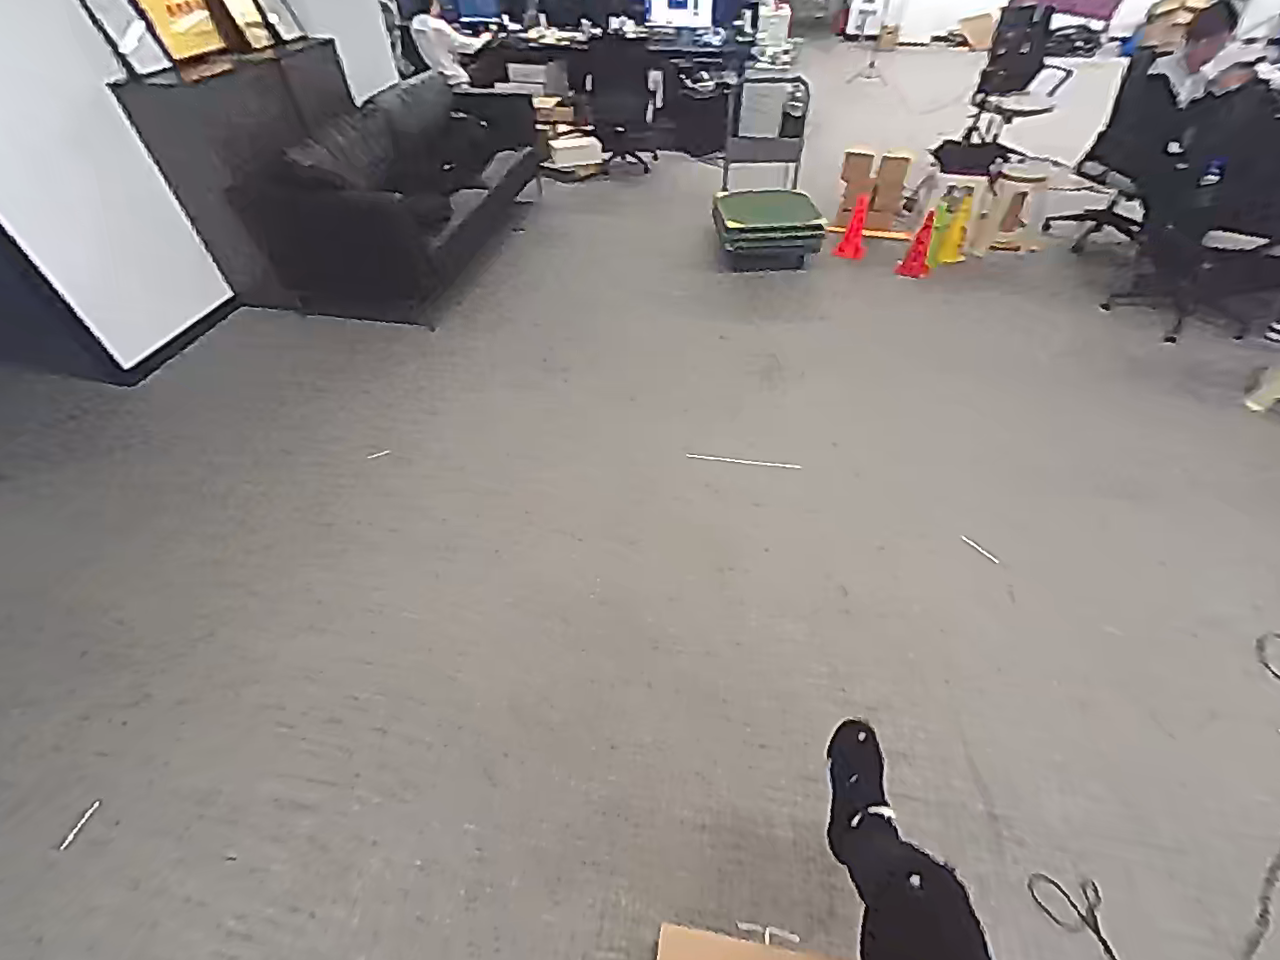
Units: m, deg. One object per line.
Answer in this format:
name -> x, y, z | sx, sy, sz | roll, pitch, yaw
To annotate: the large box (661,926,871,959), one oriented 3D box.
large box -> 0.228, 1.063, 0.993 | 0.408, 0.320, 0.320 | 5, 45, 8
